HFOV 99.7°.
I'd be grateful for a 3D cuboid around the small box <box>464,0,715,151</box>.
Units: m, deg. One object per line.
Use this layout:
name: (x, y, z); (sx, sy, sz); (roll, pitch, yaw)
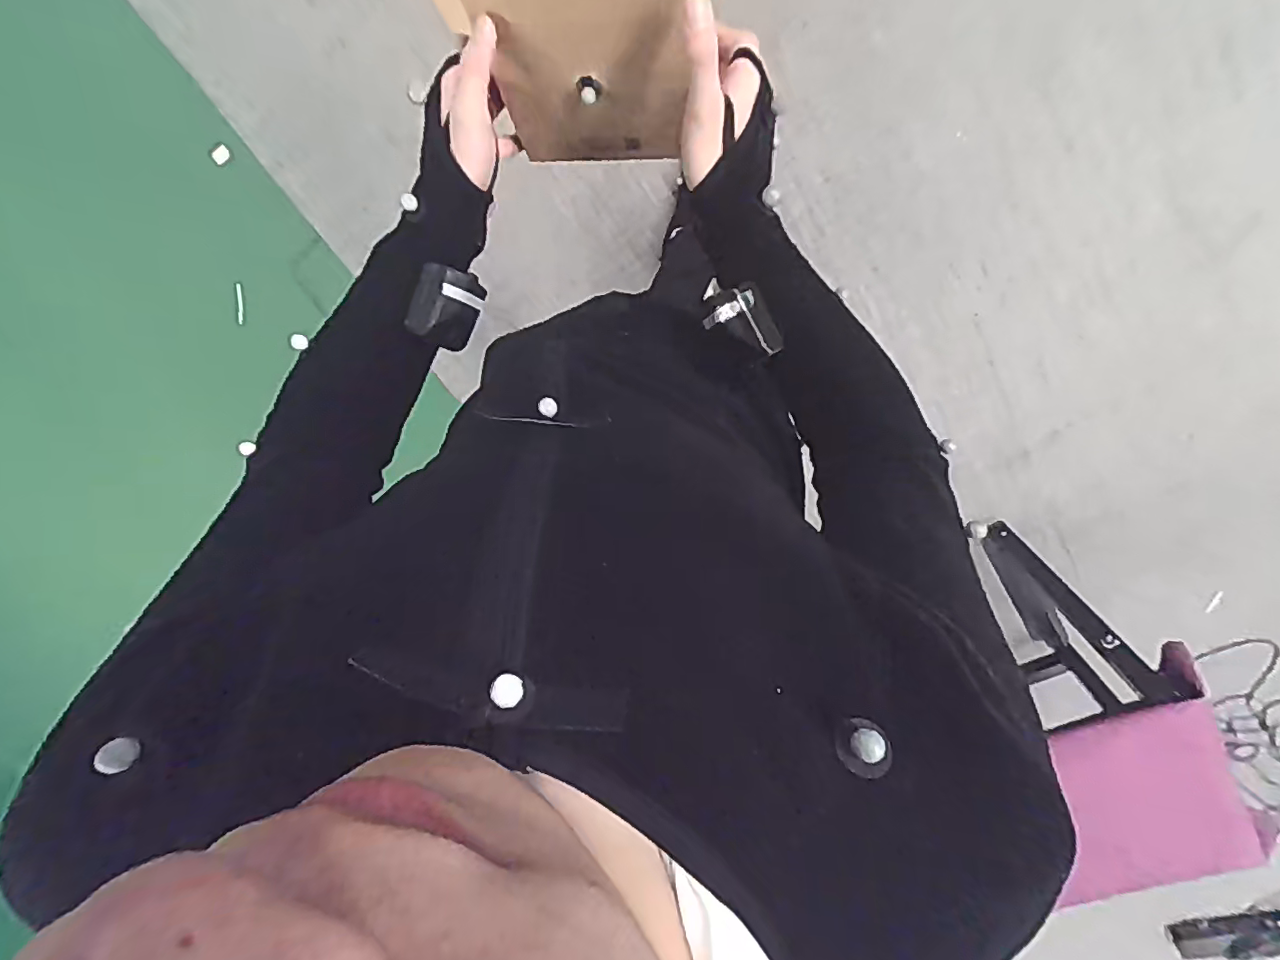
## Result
small box: (-0.026, -0.398, 0.437); (0.168, 0.176, 0.179); (4, 78, 8)
